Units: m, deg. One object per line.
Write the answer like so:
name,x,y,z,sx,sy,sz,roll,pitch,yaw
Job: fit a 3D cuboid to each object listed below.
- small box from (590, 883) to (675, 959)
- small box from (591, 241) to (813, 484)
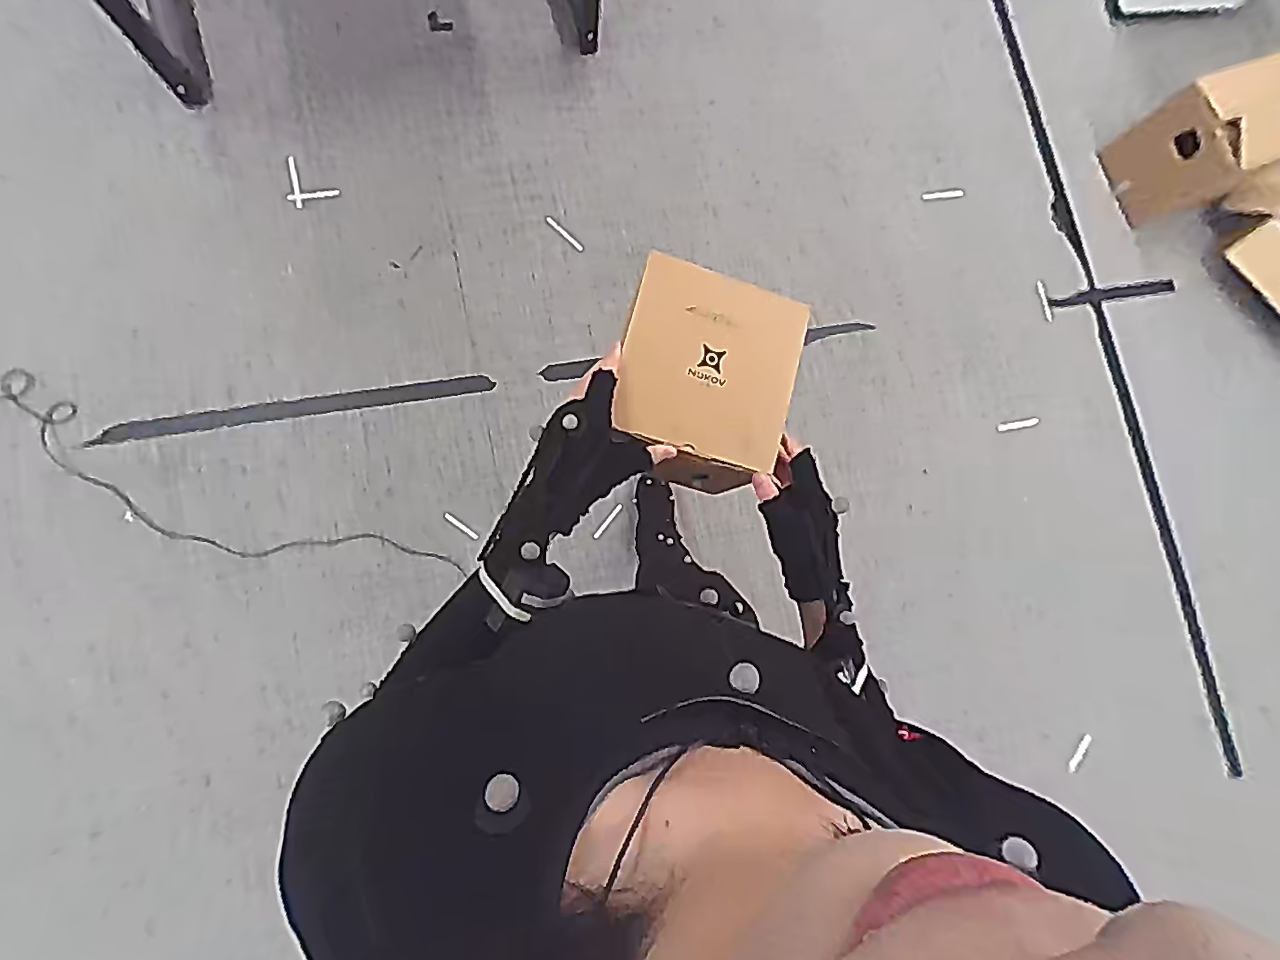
small box,-0.018,1.139,1.312,0.179,0.176,0.168,-19,86,-11
small box,0.051,-0.103,0.564,0.168,0.176,0.179,16,80,-9
